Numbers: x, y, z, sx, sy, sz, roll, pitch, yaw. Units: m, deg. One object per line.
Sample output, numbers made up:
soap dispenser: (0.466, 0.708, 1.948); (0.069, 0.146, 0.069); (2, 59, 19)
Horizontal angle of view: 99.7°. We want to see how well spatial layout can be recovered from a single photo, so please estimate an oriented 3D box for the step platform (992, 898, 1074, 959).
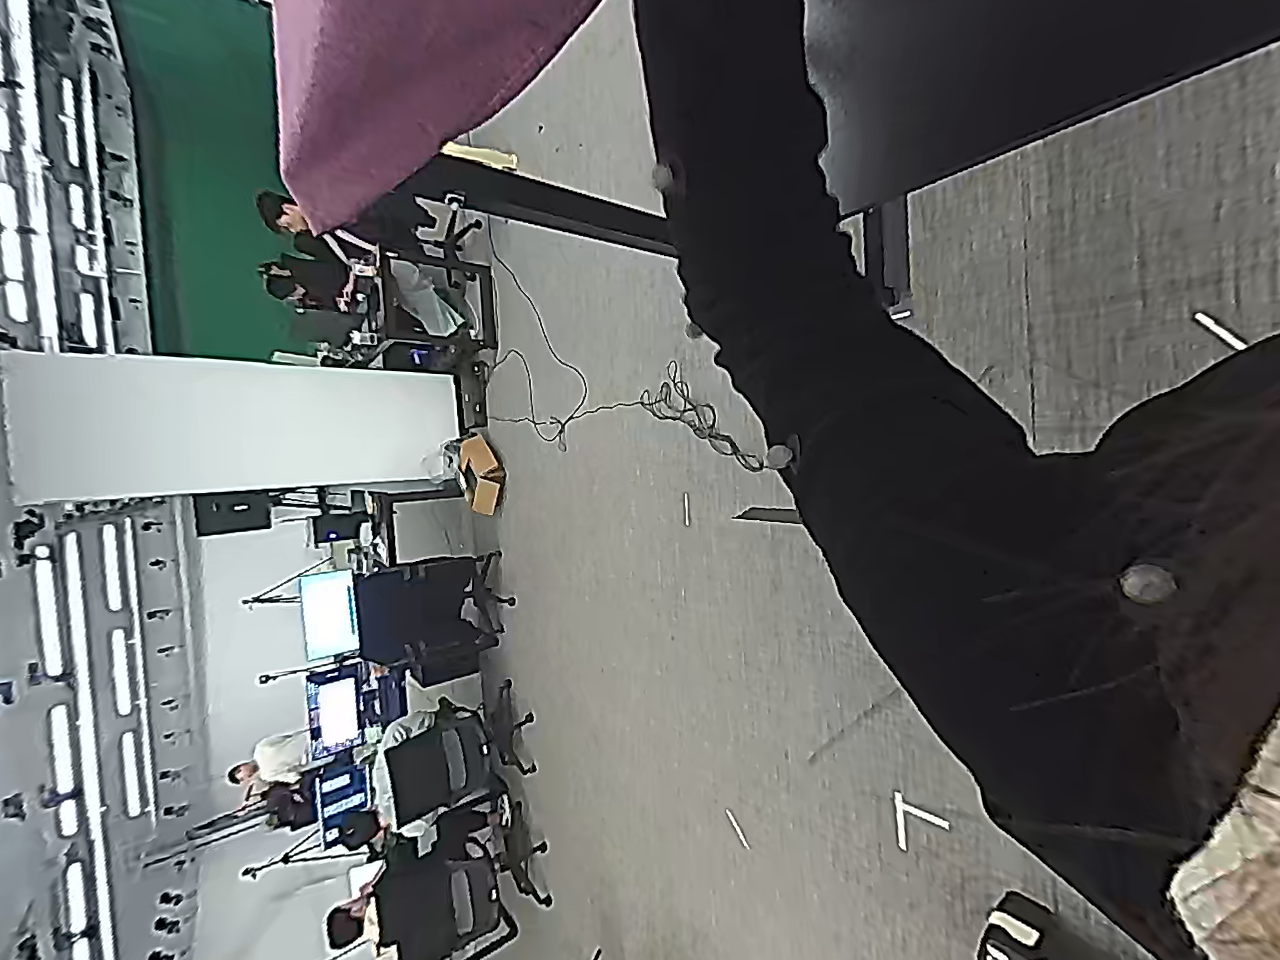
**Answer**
step platform: (1.092, 1.226, 1.077); (0.684, 0.204, 0.286); (10, 101, 51)
